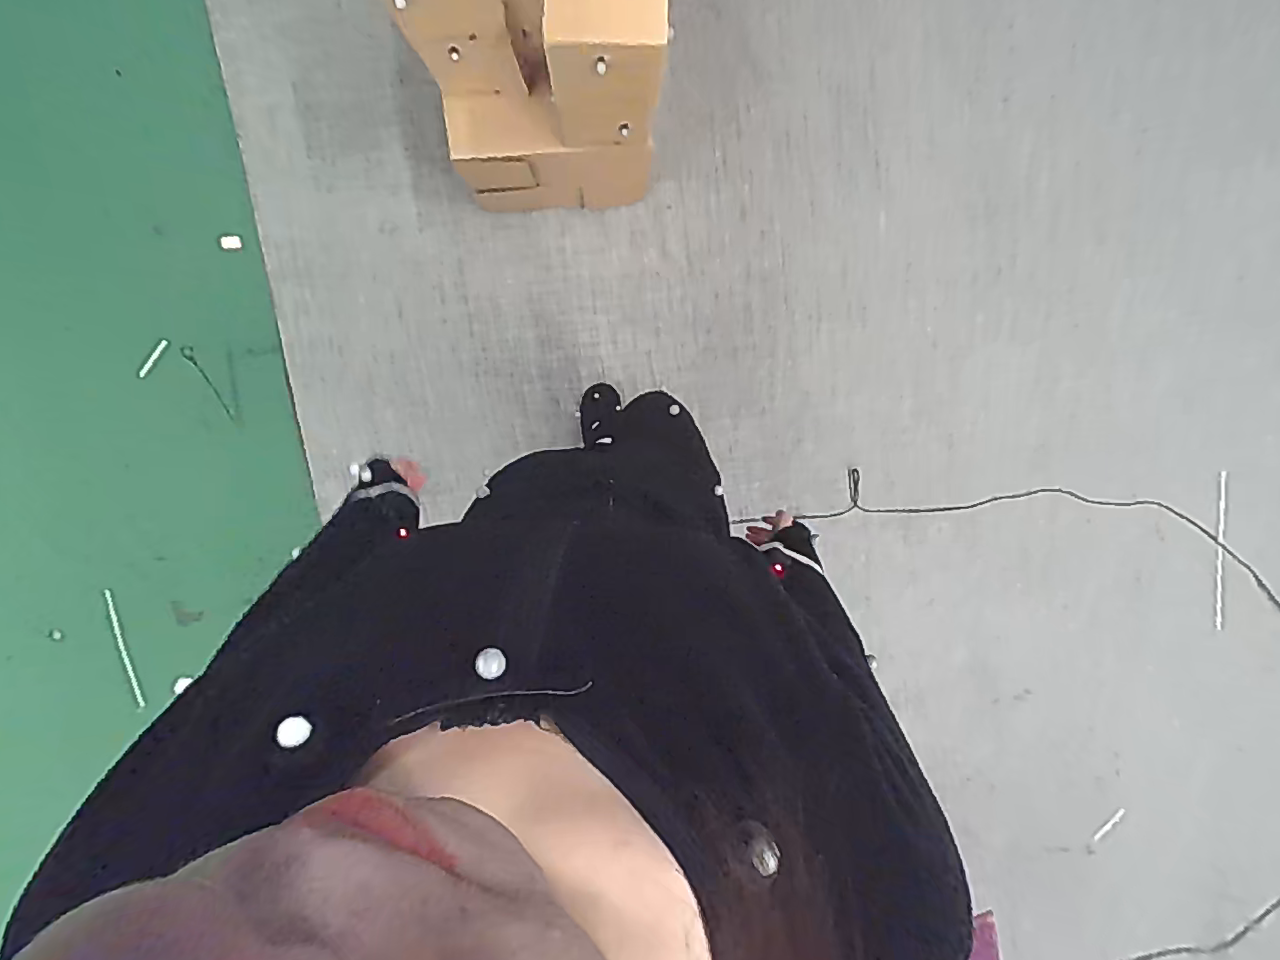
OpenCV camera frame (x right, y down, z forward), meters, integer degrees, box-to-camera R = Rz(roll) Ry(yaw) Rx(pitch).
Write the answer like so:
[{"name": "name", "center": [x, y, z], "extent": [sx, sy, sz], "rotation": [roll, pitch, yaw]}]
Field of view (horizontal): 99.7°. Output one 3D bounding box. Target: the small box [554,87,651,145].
[{"name": "small box", "center": [-0.064, -0.729, 0.972], "extent": [0.168, 0.176, 0.179], "rotation": [-1, 98, -2]}]

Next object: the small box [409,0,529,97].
[{"name": "small box", "center": [-0.295, -0.819, 0.955], "extent": [0.168, 0.176, 0.179], "rotation": [-1, 98, 0]}]

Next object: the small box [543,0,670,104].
[{"name": "small box", "center": [-0.049, -0.697, 0.812], "extent": [0.179, 0.176, 0.168], "rotation": [0, 99, -2]}]
